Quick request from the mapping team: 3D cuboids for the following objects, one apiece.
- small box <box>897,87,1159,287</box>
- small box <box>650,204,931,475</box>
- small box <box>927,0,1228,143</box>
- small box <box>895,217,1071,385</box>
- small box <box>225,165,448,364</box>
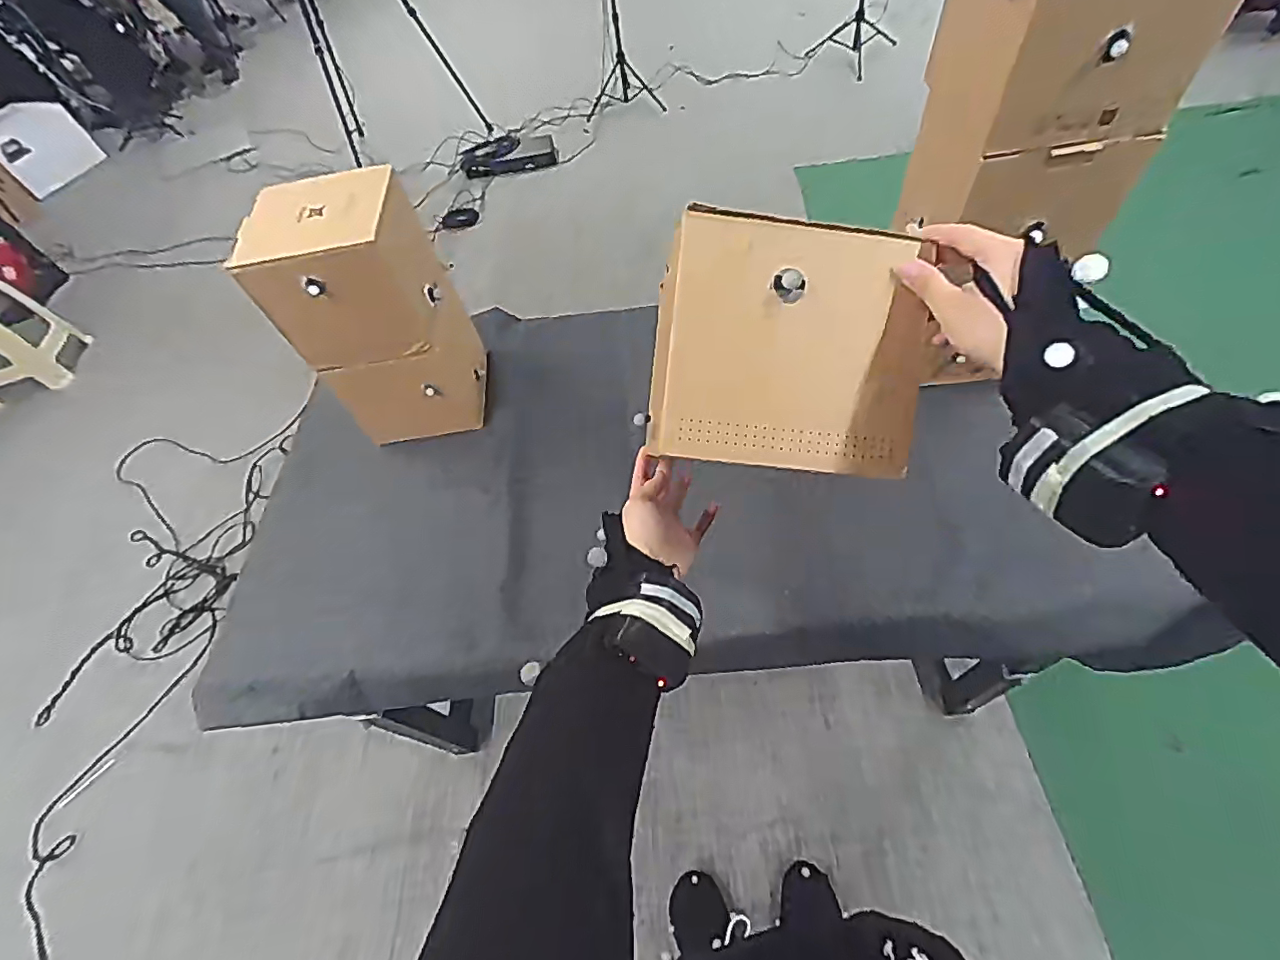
[{"bbox_3d":[0.421,-0.343,0.627,0.168,0.176,0.179,-4,58,6],"label":"small box"},{"bbox_3d":[0.102,-0.095,0.442,0.179,0.168,0.176,6,94,-3],"label":"small box"},{"bbox_3d":[0.392,-0.431,0.490,0.168,0.176,0.179,-5,57,5],"label":"small box"},{"bbox_3d":[0.445,-0.259,0.766,0.168,0.176,0.179,-4,57,7],"label":"small box"},{"bbox_3d":[-0.374,-0.271,0.704,0.179,0.176,0.168,-9,58,1],"label":"small box"}]
